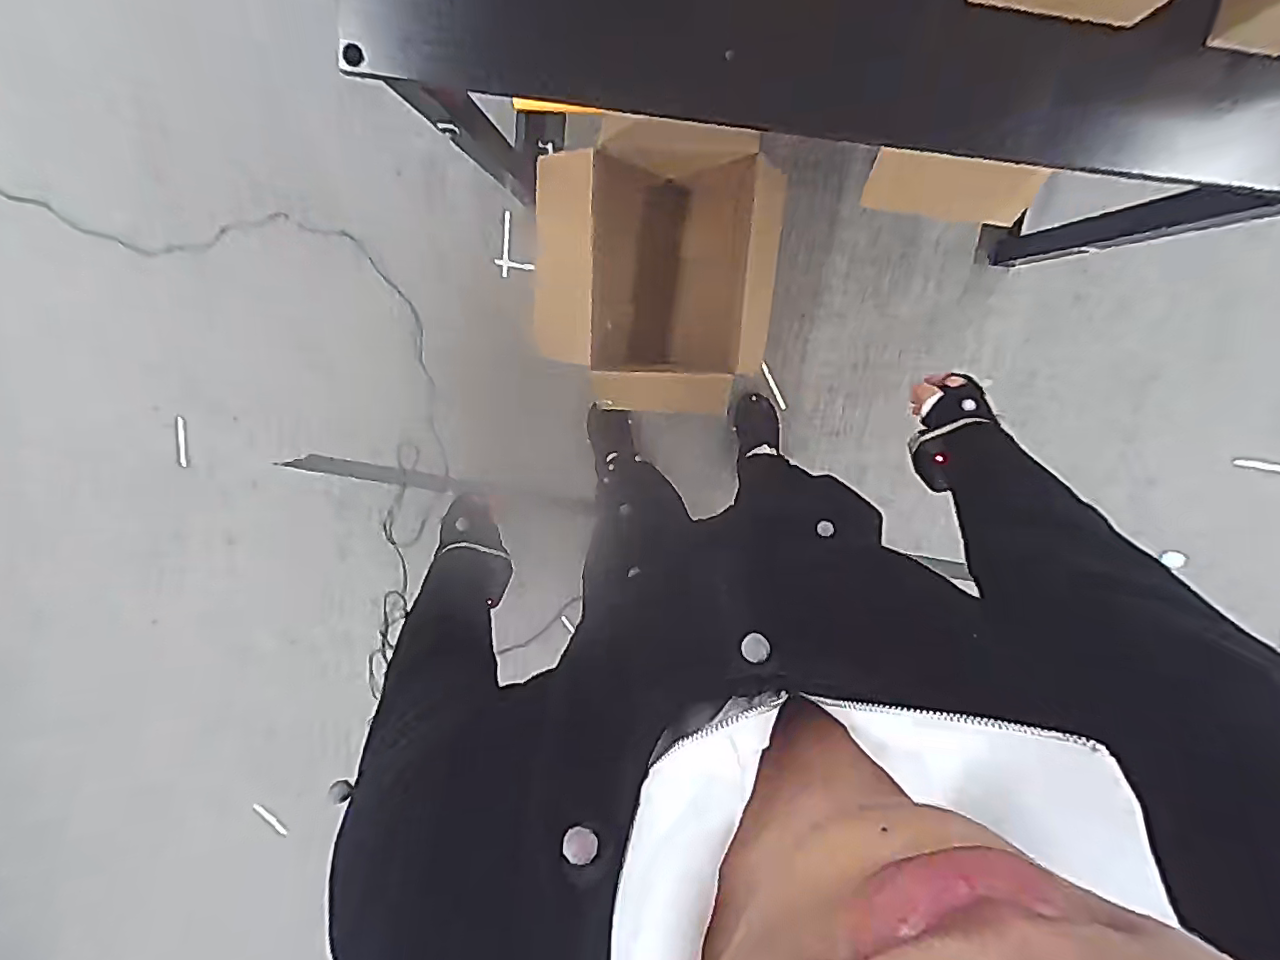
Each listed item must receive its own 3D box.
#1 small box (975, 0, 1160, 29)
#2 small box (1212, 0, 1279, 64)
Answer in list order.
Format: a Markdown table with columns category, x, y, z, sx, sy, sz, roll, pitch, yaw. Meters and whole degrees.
| category | x | y | z | sx | sy | sz | roll | pitch | yaw |
| --- | --- | --- | --- | --- | --- | --- | --- | --- | --- |
| small box | 0.430 | -0.537 | 0.467 | 0.179 | 0.176 | 0.168 | 10 | 105 | 0 |
| small box | 0.672 | -0.498 | 0.464 | 0.168 | 0.176 | 0.179 | 10 | 105 | 2 |
